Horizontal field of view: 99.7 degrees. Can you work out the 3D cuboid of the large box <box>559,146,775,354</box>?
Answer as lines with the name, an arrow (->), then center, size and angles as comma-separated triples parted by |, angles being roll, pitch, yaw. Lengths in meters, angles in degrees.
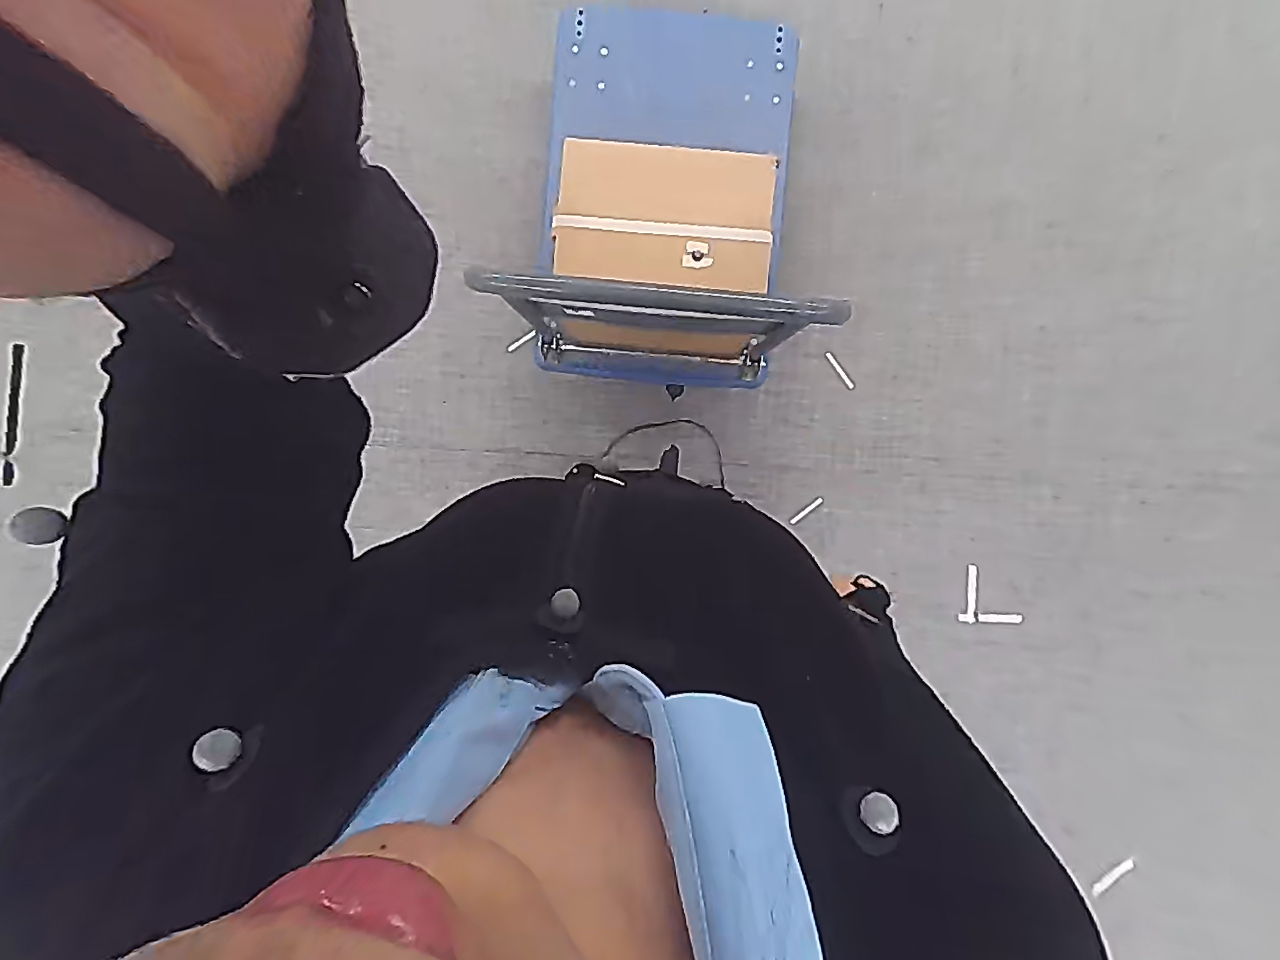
large box -> 0.047, -0.472, 1.180 | 0.408, 0.320, 0.320 | 5, 91, -1
